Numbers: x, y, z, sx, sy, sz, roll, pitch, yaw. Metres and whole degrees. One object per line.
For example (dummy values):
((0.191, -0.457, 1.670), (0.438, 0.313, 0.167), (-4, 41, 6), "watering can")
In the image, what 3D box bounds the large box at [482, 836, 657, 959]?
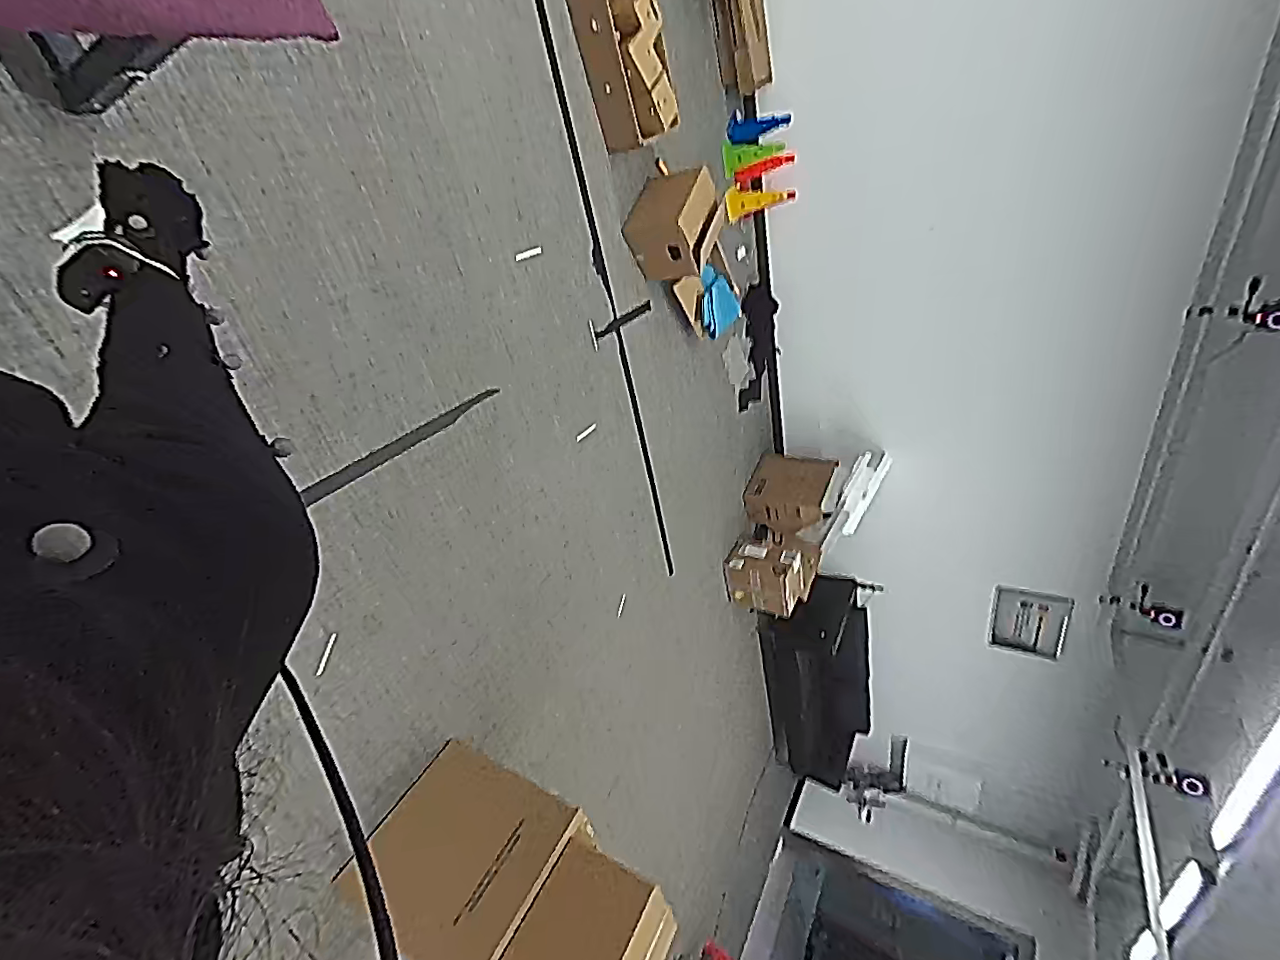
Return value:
((-0.199, 1.339, 1.535), (0.408, 0.320, 0.320), (-48, 134, -42), "large box")
